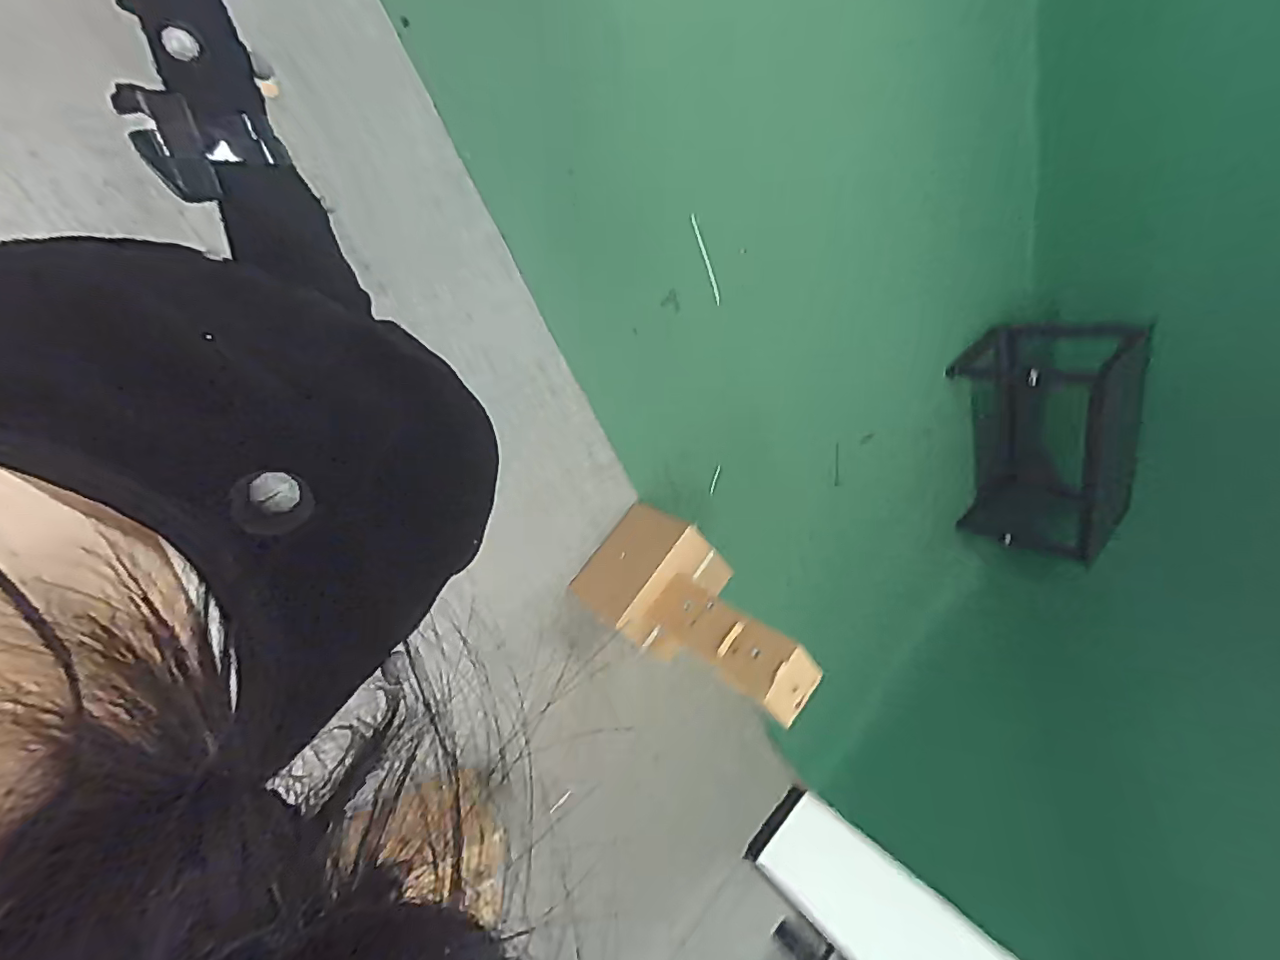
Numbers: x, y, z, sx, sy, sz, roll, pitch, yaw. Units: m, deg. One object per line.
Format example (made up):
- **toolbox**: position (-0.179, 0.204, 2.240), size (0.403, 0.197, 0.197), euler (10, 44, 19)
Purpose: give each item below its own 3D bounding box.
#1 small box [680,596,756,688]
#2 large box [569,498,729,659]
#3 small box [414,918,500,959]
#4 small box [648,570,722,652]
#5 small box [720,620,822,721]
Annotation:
- **small box**: position (0.247, 0.461, 1.572), size (0.168, 0.176, 0.179), euler (-47, 125, -16)
- **large box**: position (0.031, 0.333, 1.896), size (0.408, 0.320, 0.320), euler (-52, 128, -13)
- **small box**: position (-0.430, 1.220, 1.299), size (0.179, 0.176, 0.168), euler (-7, 108, -34)
- **small box**: position (0.157, 0.413, 1.700), size (0.179, 0.176, 0.168), euler (-49, 125, -14)
- **small box**: position (0.346, 0.499, 1.445), size (0.168, 0.176, 0.179), euler (-48, 124, -14)
